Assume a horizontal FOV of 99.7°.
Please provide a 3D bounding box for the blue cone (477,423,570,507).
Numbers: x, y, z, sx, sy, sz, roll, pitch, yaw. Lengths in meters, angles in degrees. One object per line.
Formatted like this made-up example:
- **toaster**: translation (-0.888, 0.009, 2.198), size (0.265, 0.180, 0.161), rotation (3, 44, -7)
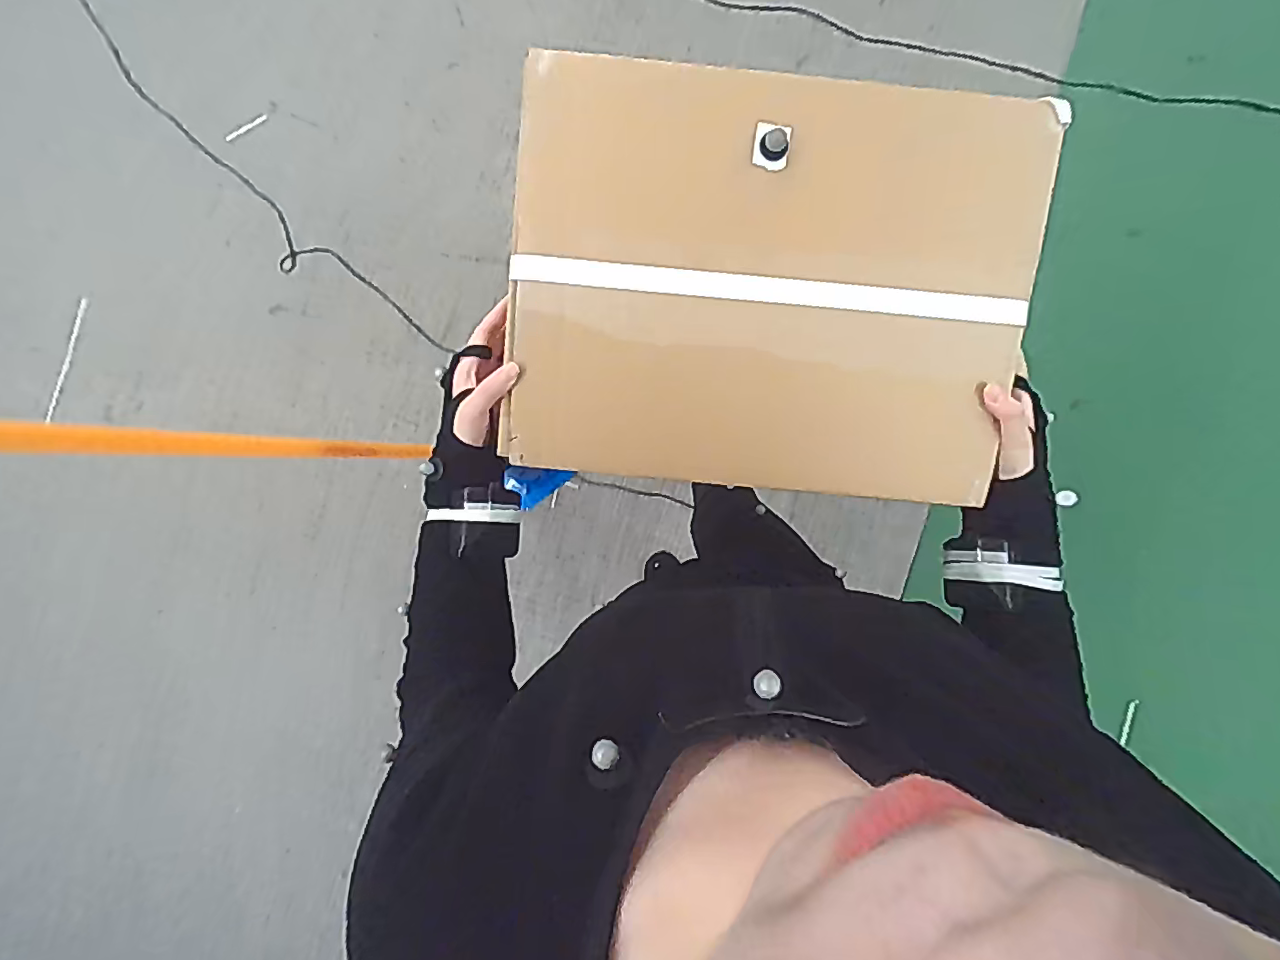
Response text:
- **blue cone**: translation (-0.315, -0.044, 1.333), size (0.192, 0.380, 0.193), rotation (-40, 88, 1)
